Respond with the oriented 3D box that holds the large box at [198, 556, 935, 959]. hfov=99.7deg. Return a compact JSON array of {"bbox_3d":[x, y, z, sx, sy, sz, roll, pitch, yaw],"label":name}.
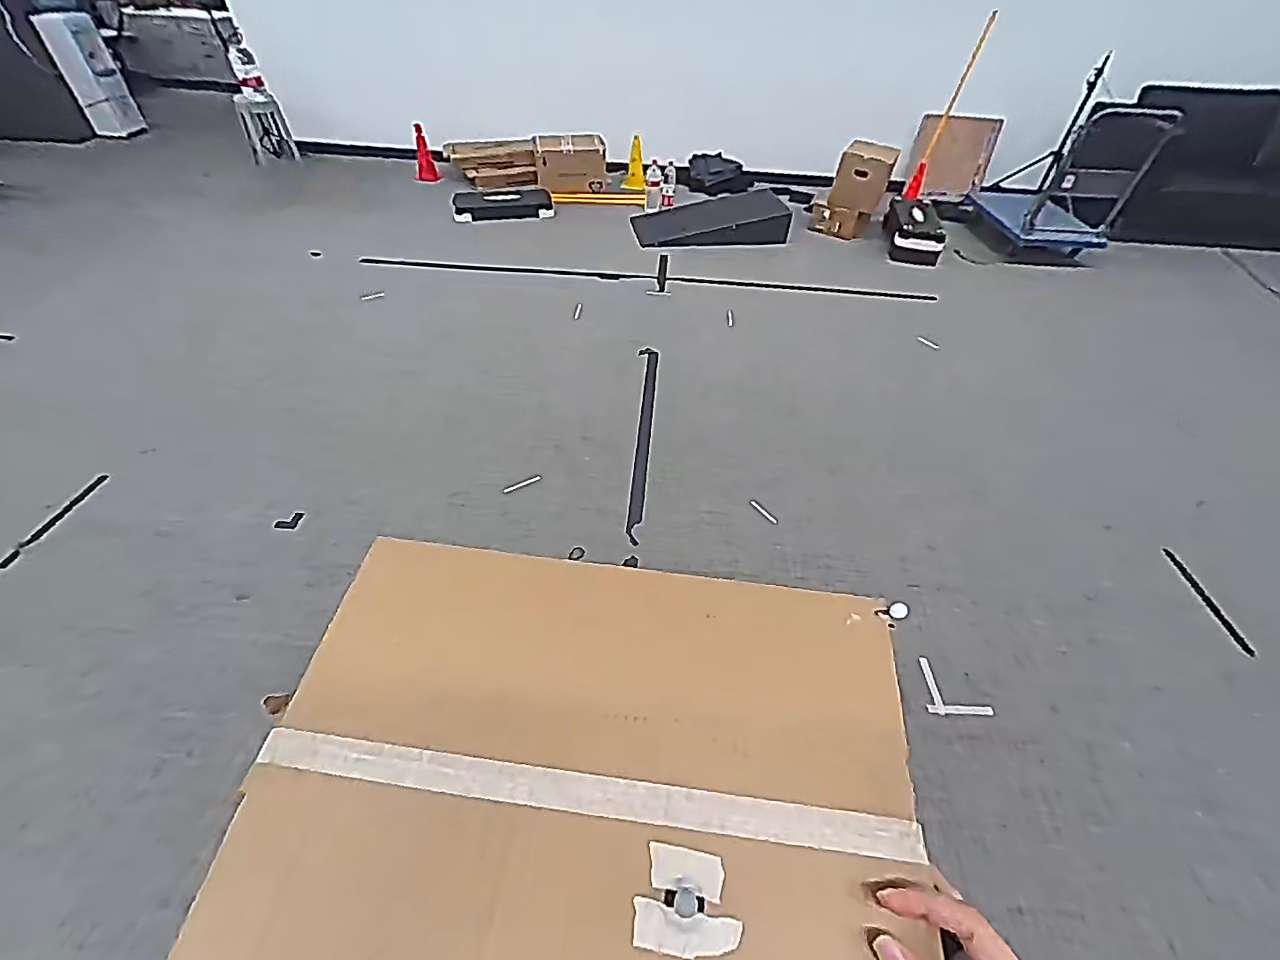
[{"bbox_3d":[-0.033,0.291,0.456,0.408,0.320,0.320,7,54,3],"label":"large box"}]
